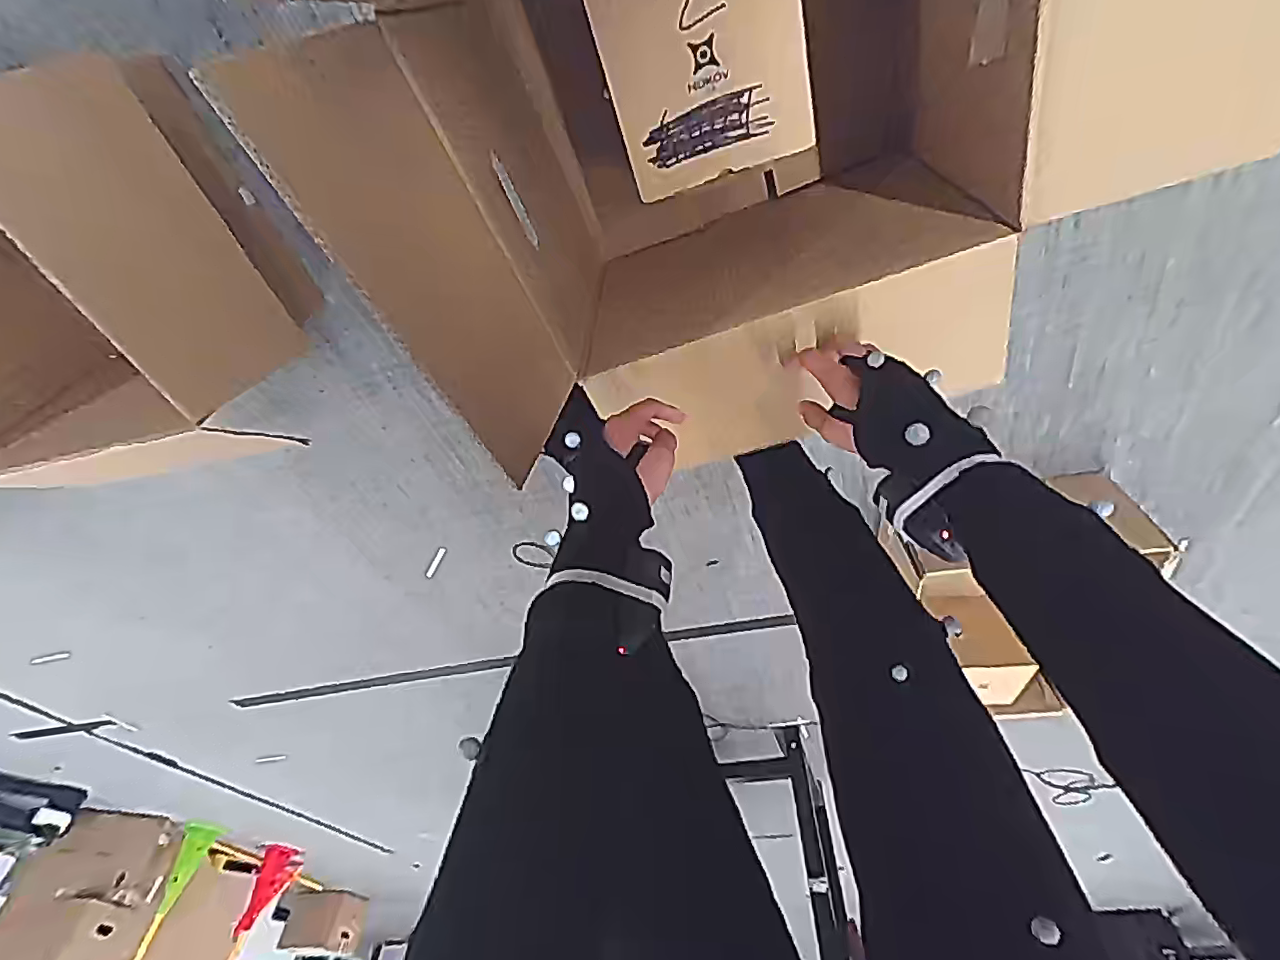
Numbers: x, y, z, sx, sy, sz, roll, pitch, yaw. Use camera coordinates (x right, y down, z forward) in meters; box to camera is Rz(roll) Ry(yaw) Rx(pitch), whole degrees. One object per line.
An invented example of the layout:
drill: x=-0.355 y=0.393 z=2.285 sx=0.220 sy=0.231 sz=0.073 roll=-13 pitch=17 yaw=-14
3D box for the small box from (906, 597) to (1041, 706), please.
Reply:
small box: x=0.703 y=0.367 z=1.167 sx=0.179 sy=0.176 sz=0.168 roll=-3 pitch=132 yaw=5
